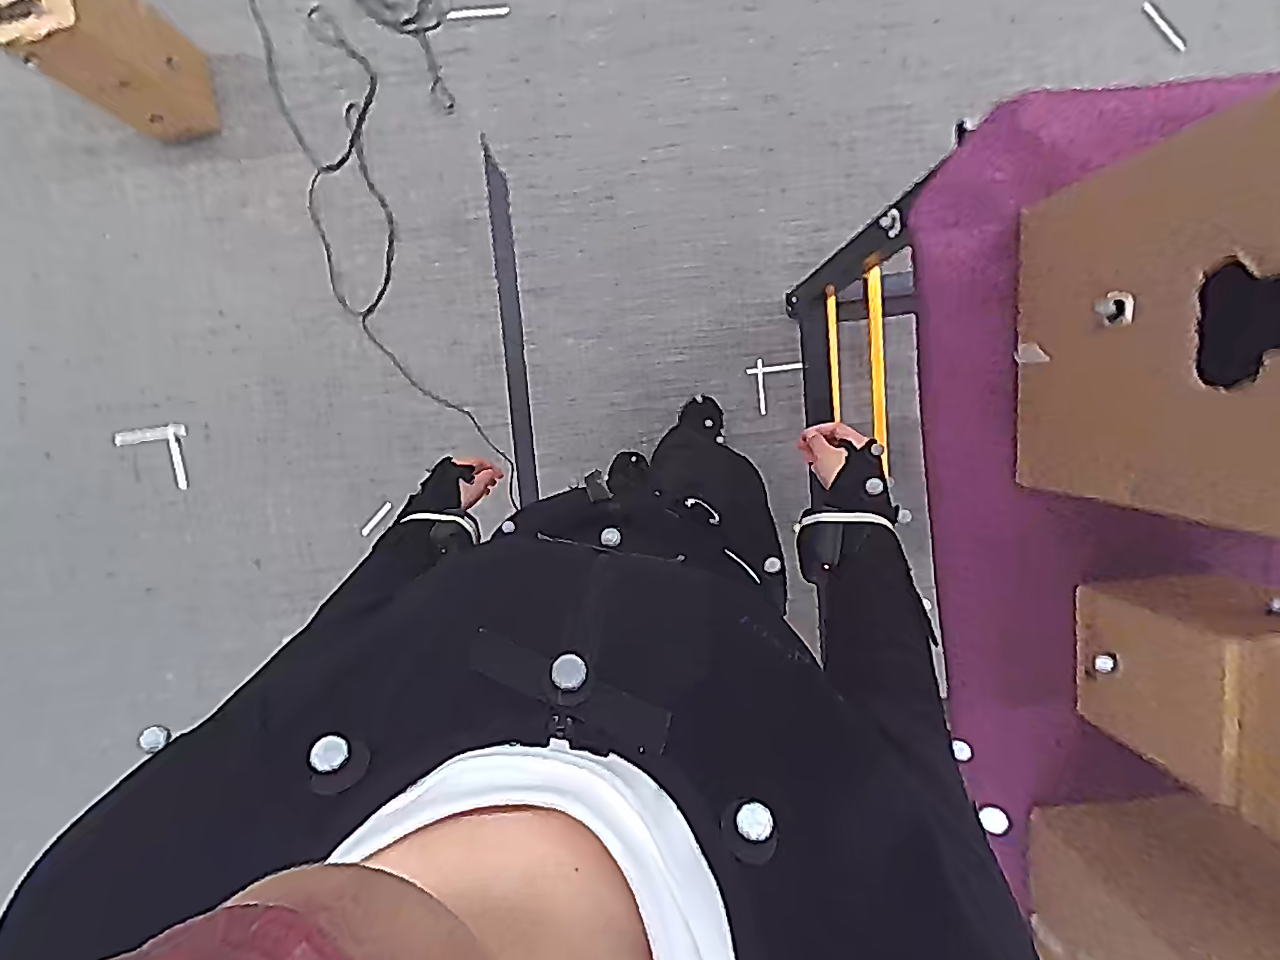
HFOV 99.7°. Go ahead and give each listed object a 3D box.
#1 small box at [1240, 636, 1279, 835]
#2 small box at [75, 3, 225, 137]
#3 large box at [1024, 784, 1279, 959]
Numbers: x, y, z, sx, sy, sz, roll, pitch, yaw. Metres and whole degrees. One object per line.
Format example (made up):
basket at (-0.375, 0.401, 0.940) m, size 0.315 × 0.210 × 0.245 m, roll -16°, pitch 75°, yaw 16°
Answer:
small box at (0.629, 0.231, 0.415) m, size 0.168 × 0.176 × 0.179 m, roll -5°, pitch 95°, yaw -1°
small box at (-1.056, -0.882, 1.183) m, size 0.168 × 0.176 × 0.179 m, roll -6°, pitch 95°, yaw 0°
large box at (0.693, 0.554, 0.543) m, size 0.408 × 0.320 × 0.320 m, roll -6°, pitch 96°, yaw -2°
